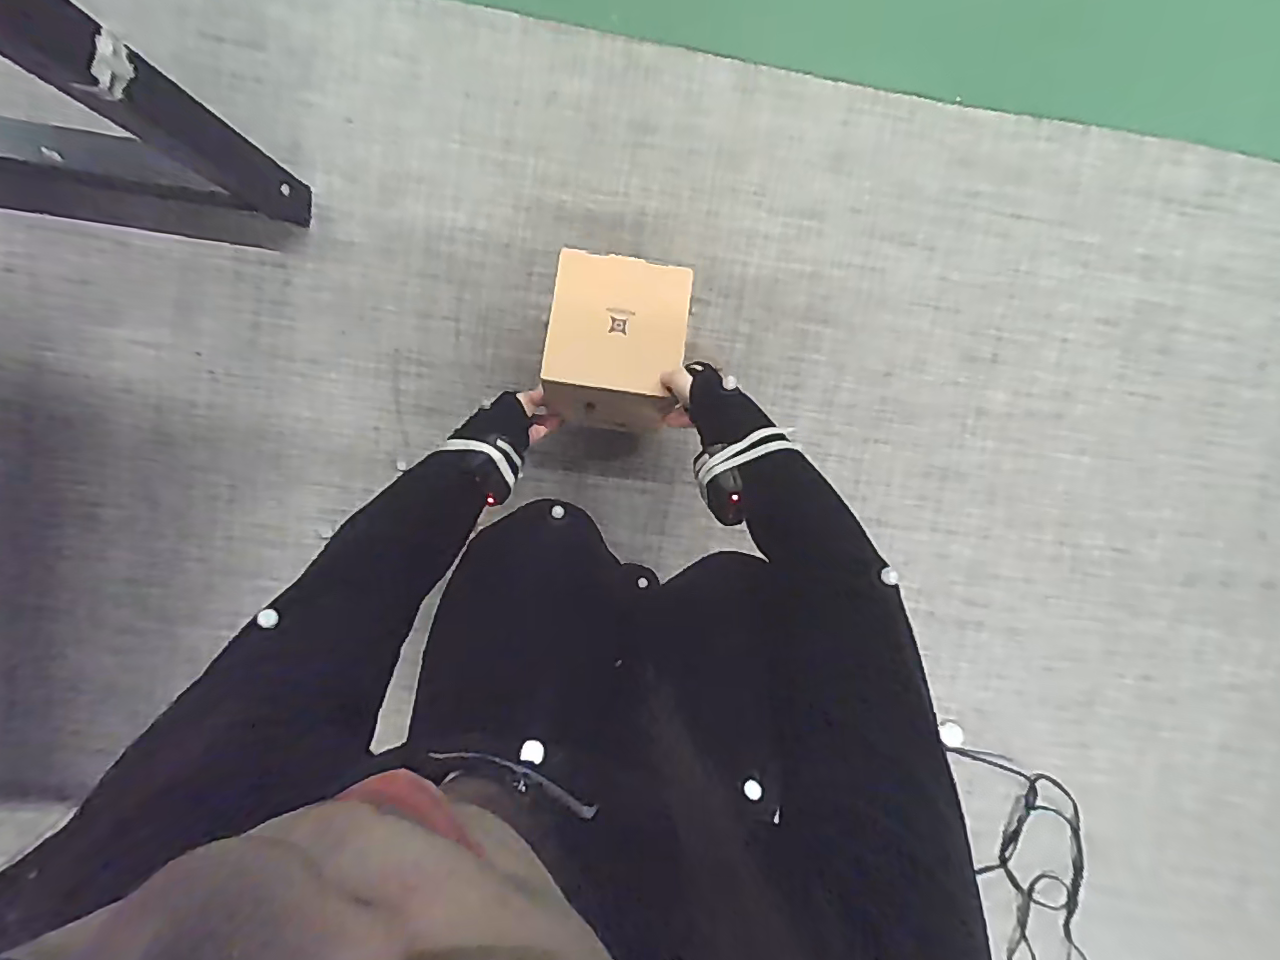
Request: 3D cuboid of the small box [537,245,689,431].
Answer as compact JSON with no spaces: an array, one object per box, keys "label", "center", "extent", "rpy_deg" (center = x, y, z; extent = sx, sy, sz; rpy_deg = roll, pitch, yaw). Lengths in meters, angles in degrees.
[{"label":"small box","center":[-0.038,-0.176,0.725],"extent":[0.168,0.176,0.179],"rpy_deg":[8,77,-5]}]
